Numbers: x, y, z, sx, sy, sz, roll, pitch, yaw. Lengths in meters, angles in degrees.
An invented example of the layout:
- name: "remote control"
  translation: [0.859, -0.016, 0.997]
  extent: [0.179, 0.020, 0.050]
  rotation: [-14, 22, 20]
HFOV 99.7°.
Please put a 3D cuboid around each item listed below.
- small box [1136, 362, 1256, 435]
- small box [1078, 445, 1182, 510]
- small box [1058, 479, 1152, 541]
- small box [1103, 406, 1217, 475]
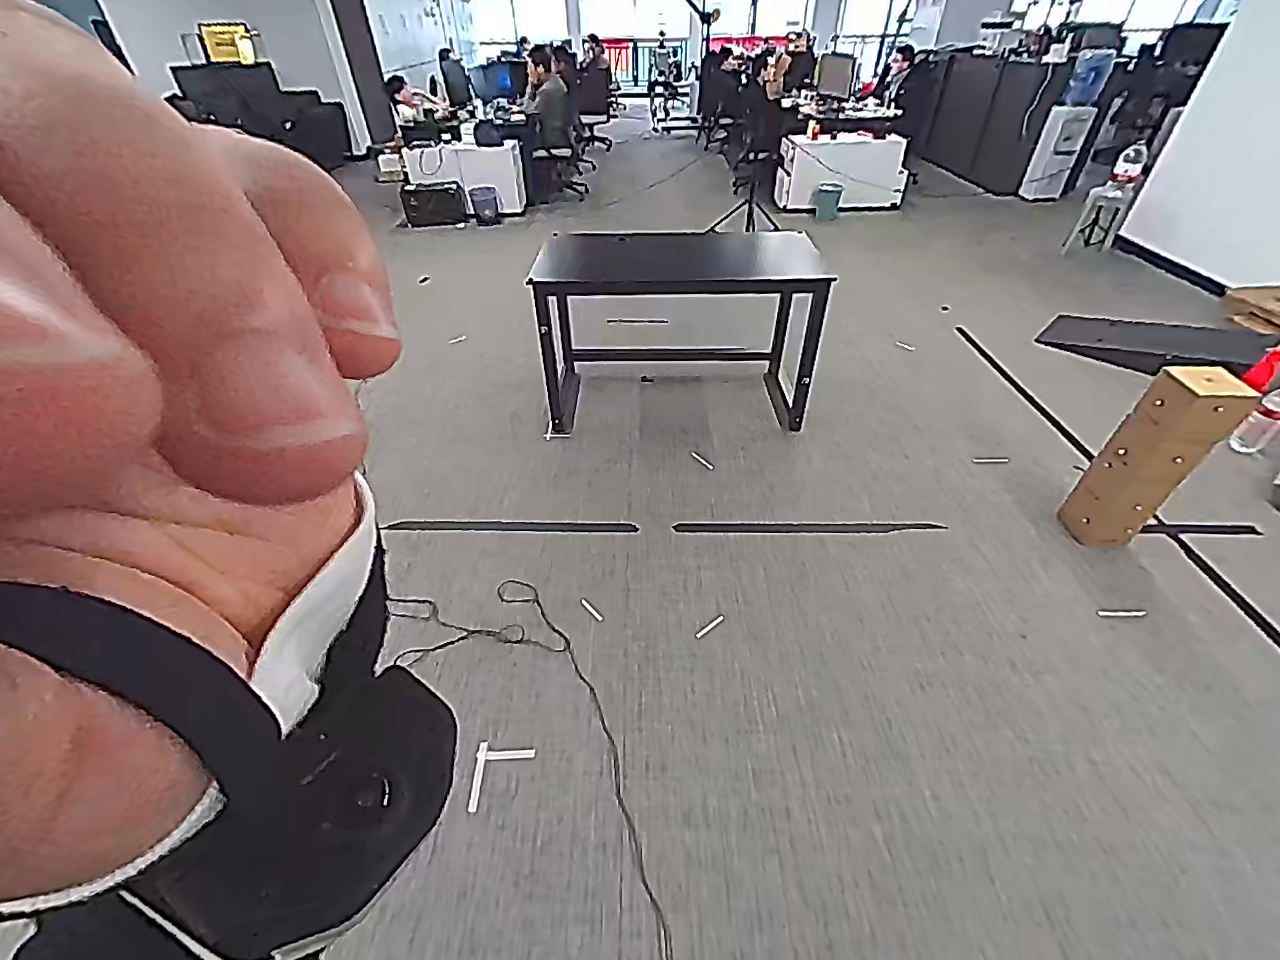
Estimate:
- name: "small box"
  translation: [1.700, -0.251, 1.673]
  extent: [0.179, 0.176, 0.168]
  rotation: [1, 42, 3]
- name: "small box"
  translation: [1.708, -0.008, 1.896]
  extent: [0.179, 0.176, 0.168]
  rotation: [-2, 41, -1]
- name: "small box"
  translation: [1.714, 0.114, 2.004]
  extent: [0.168, 0.176, 0.179]
  rotation: [-1, 40, 1]
- name: "small box"
  translation: [1.703, -0.130, 1.784]
  extent: [0.179, 0.176, 0.168]
  rotation: [-3, 41, 0]
